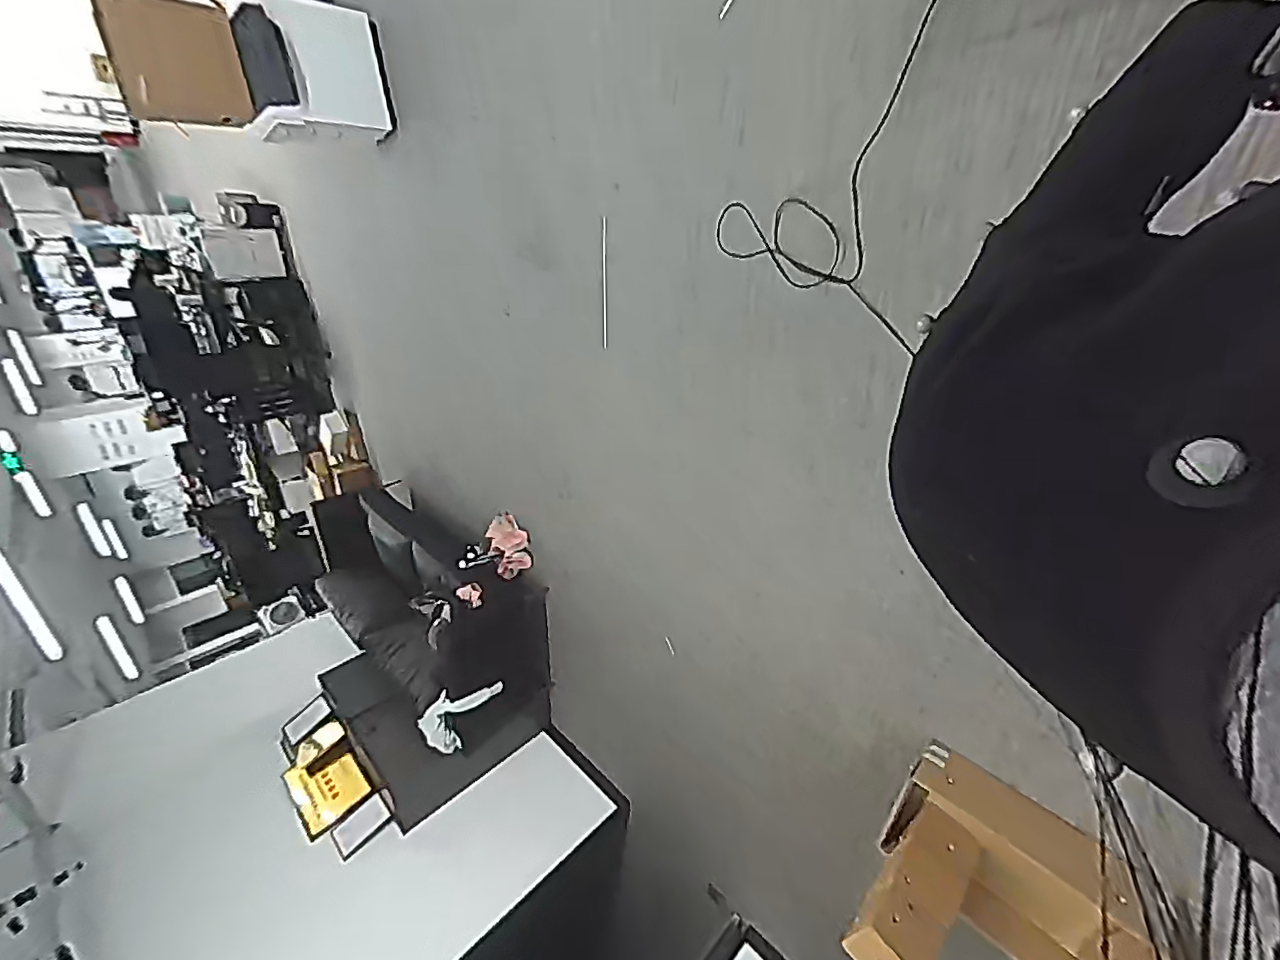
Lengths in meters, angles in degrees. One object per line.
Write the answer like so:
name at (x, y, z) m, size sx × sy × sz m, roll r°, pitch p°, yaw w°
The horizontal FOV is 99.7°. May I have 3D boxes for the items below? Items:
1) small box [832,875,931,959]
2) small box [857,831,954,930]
small box at (0.674, 1.250, 1.501) m, size 0.168 × 0.176 × 0.179 m, roll 41°, pitch 133°, yaw 29°
small box at (0.791, 1.201, 1.605) m, size 0.179 × 0.176 × 0.168 m, roll 38°, pitch 131°, yaw 30°
